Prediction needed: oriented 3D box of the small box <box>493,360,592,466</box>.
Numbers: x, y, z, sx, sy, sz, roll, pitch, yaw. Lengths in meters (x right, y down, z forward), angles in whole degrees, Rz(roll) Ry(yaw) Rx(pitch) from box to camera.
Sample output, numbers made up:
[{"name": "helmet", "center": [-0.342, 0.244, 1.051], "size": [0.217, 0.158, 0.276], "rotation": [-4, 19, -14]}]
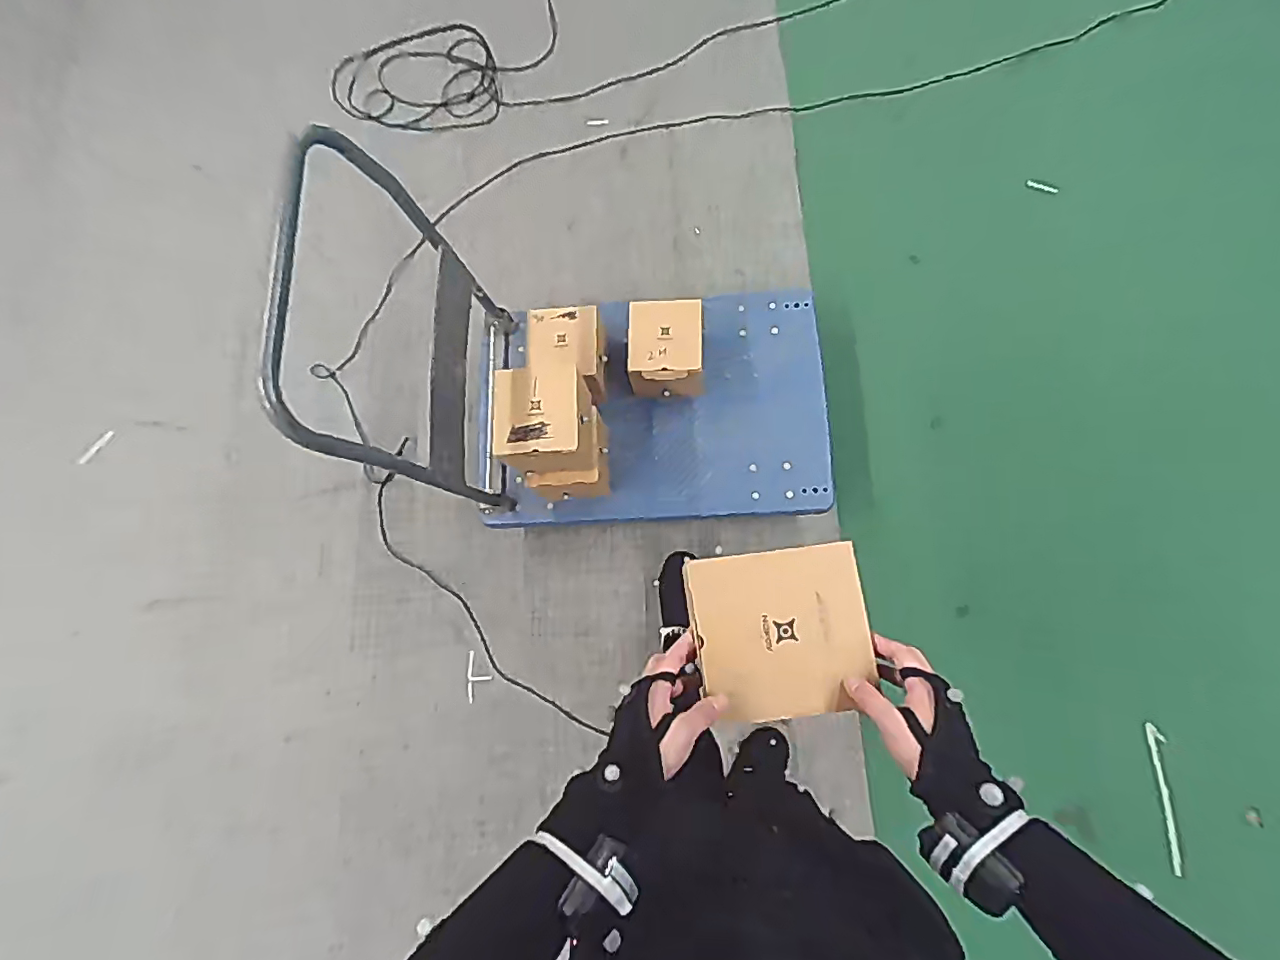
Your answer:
[{"name": "small box", "center": [-0.192, -0.128, 1.109], "size": [0.168, 0.176, 0.179], "rotation": [-2, 77, 4]}]

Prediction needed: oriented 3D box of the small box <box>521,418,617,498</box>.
[{"name": "small box", "center": [-0.175, -0.070, 1.273], "size": [0.179, 0.176, 0.168], "rotation": [28, 84, 11]}]

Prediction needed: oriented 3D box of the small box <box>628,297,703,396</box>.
[{"name": "small box", "center": [0.065, -0.315, 1.293], "size": [0.168, 0.176, 0.179], "rotation": [1, 79, 6]}]

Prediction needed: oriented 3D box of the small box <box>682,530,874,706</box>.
[{"name": "small box", "center": [0.144, 0.155, 0.629], "size": [0.179, 0.176, 0.168], "rotation": [-6, 79, 2]}]
